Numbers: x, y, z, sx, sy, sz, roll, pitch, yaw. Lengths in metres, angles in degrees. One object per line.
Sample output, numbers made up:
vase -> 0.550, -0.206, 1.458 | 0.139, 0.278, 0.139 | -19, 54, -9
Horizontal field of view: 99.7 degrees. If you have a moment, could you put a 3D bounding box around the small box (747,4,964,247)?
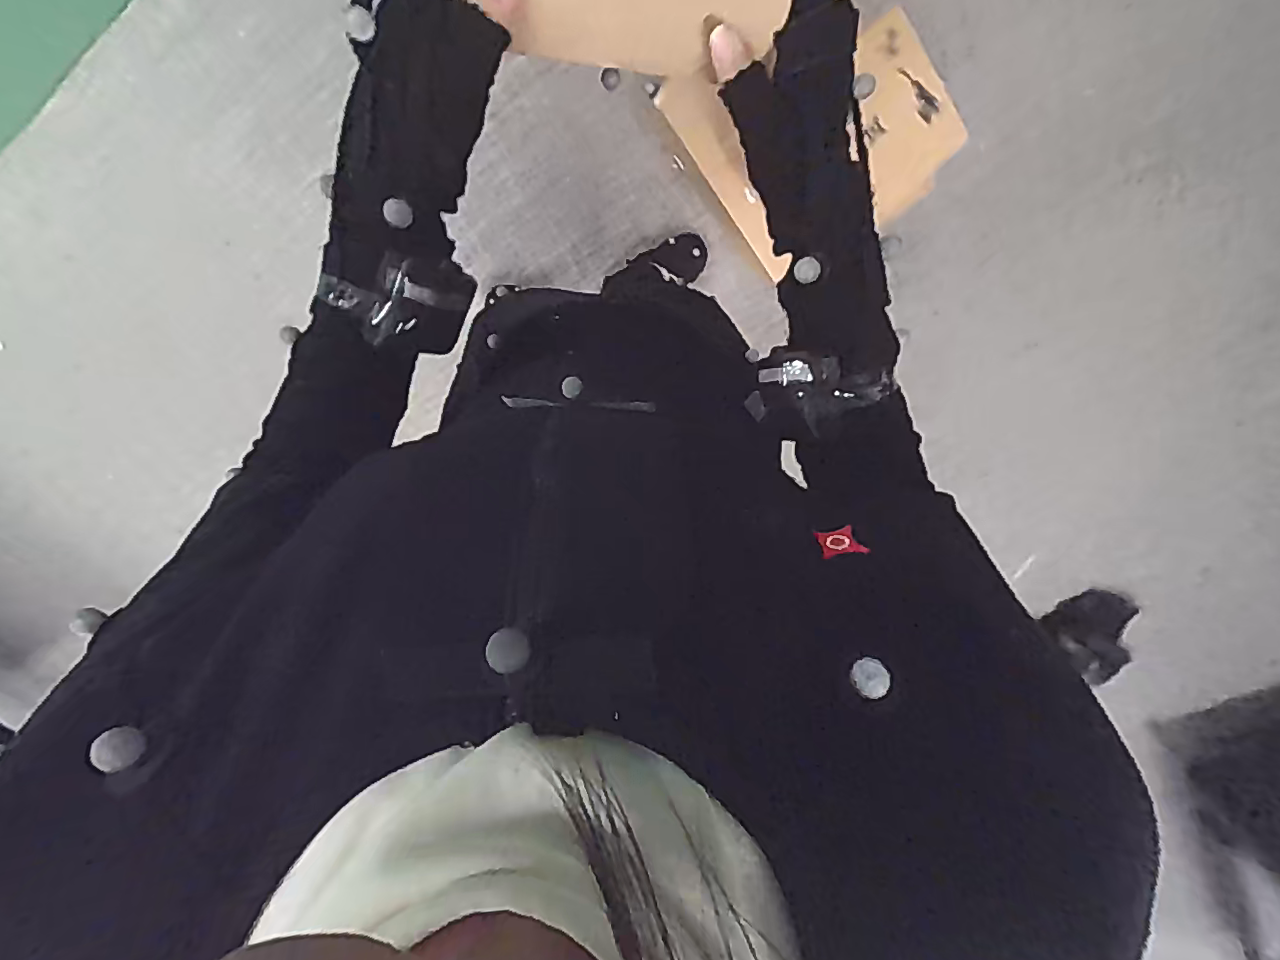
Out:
small box -> 0.250, -0.424, 0.678 | 0.179, 0.176, 0.168 | -38, 113, 19

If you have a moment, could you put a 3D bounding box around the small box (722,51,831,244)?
small box -> 0.248, -0.497, 0.824 | 0.168, 0.176, 0.179 | -40, 113, 19
